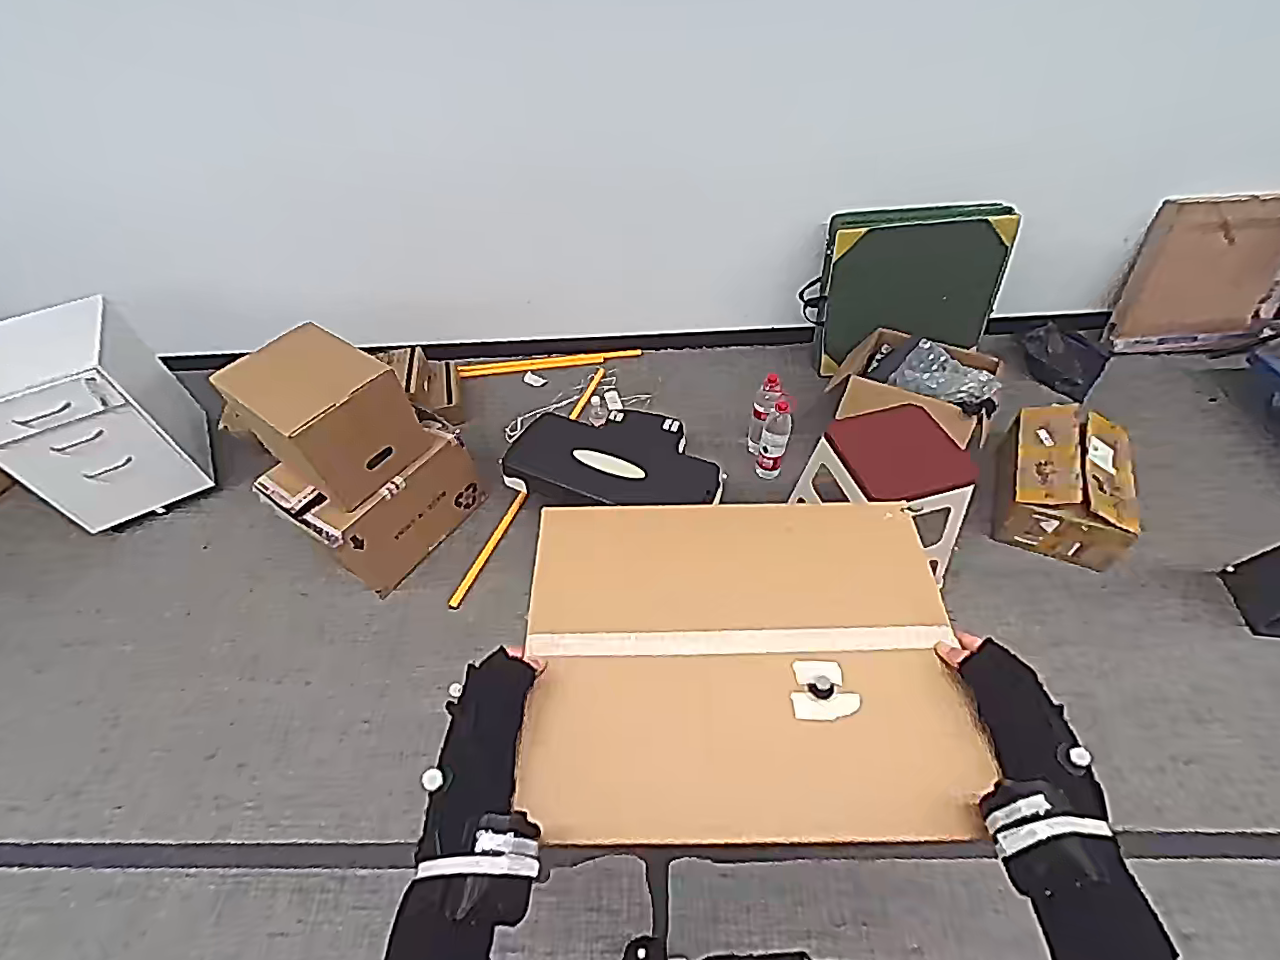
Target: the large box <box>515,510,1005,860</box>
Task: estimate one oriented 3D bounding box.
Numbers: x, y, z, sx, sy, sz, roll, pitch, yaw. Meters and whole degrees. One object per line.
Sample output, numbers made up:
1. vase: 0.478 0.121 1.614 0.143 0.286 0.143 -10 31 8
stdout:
1. large box: 0.094 0.250 0.637 0.408 0.320 0.320 -1 54 0
